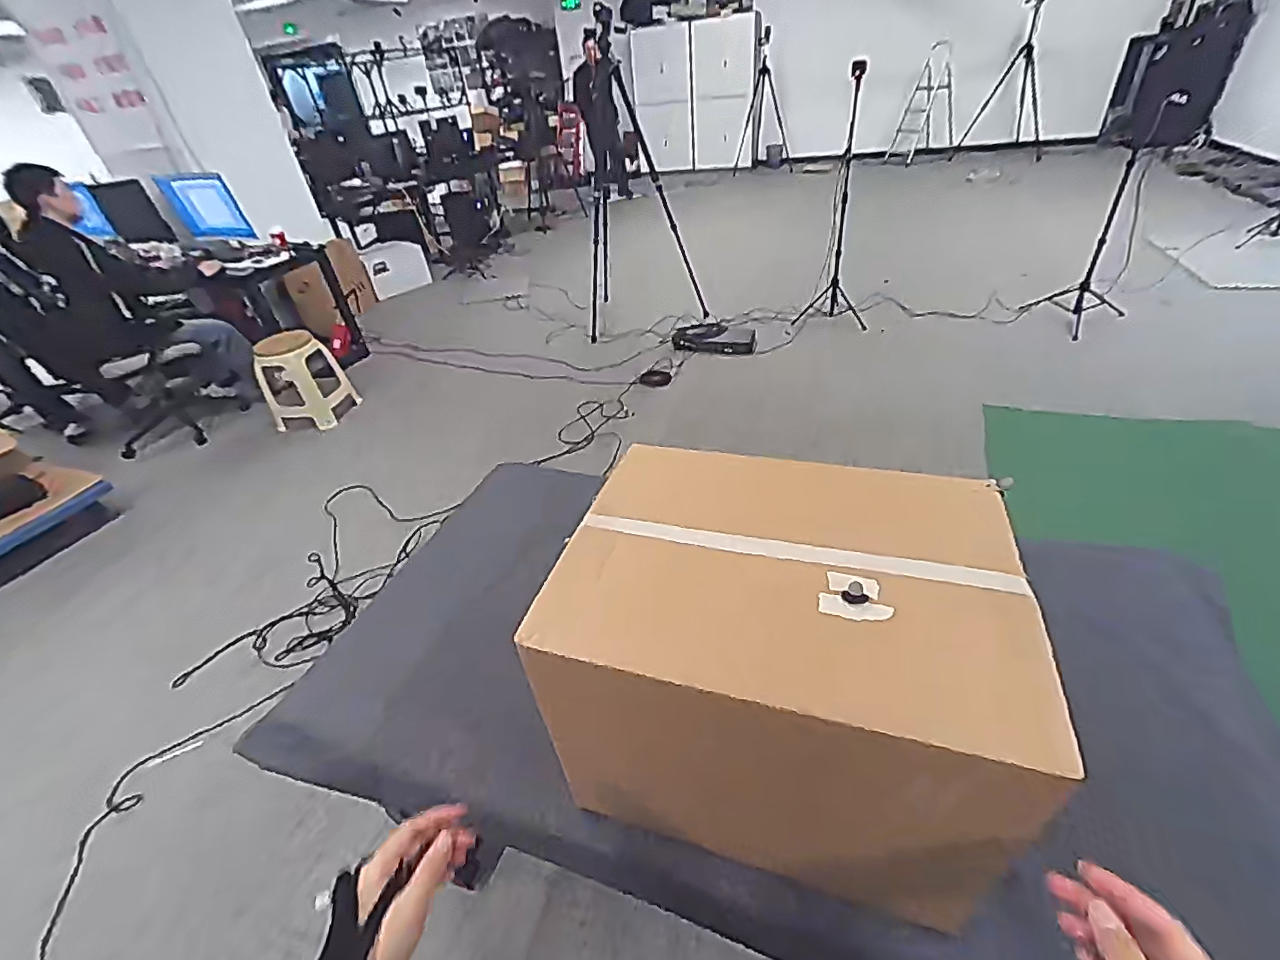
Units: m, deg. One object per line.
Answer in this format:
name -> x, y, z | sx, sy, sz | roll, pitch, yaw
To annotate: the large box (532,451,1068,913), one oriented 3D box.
large box -> 0.147, 0.194, 0.606 | 0.408, 0.320, 0.320 | 8, 39, 17
